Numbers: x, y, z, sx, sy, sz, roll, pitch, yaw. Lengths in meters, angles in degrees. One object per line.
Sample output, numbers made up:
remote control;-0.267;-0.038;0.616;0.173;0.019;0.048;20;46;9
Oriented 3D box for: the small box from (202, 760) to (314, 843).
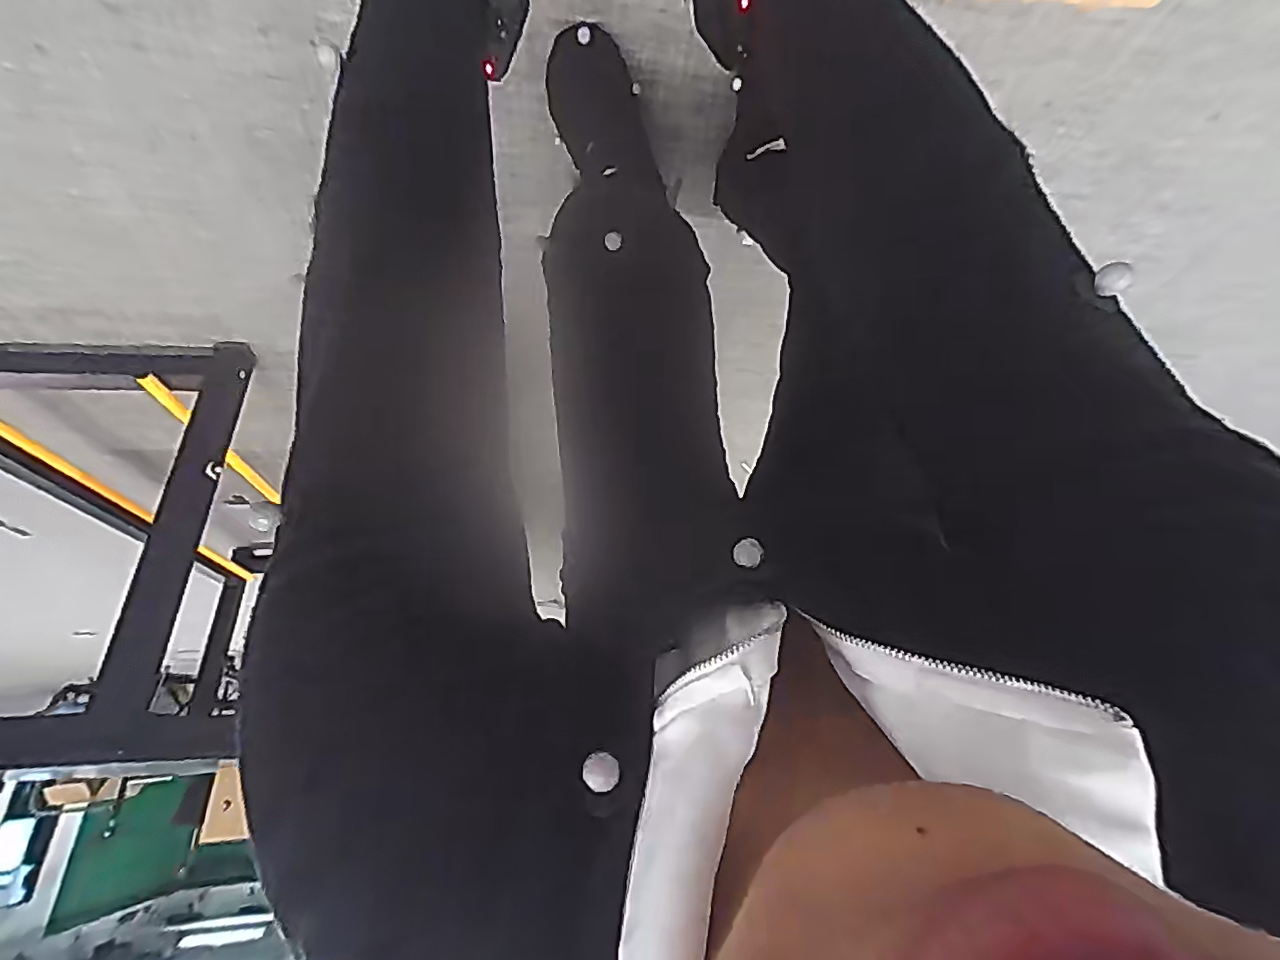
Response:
small box;-0.995;0.841;1.426;0.179;0.176;0.168;-1;154;-9
